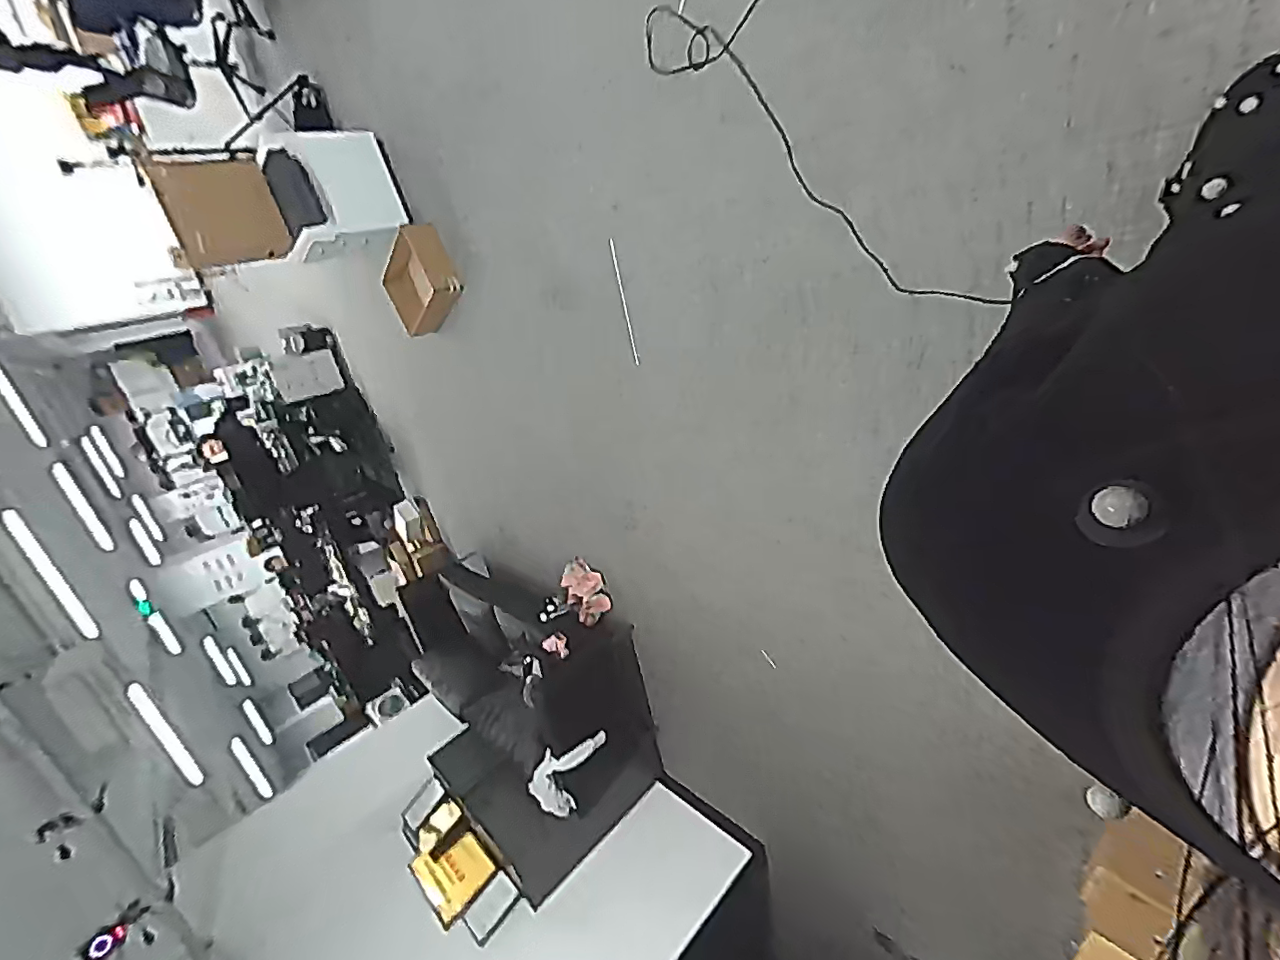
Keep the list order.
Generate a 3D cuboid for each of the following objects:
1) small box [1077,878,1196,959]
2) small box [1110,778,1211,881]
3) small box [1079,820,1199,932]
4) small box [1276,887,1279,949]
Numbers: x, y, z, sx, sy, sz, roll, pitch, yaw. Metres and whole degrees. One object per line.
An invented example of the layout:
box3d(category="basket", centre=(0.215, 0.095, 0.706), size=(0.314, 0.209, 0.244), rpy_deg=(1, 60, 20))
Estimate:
box3d(category="small box", centre=(1.118, 1.062, 1.223), size=(0.168, 0.176, 0.179), rpy_deg=(19, 127, 42))
box3d(category="small box", centre=(1.351, 0.935, 1.414), size=(0.168, 0.176, 0.179), rpy_deg=(21, 127, 40))
box3d(category="small box", centre=(1.224, 0.992, 1.326), size=(0.179, 0.176, 0.168), rpy_deg=(21, 127, 40))
box3d(category="small box", centre=(1.559, 0.979, 1.195), size=(0.179, 0.176, 0.168), rpy_deg=(11, 121, 46))
